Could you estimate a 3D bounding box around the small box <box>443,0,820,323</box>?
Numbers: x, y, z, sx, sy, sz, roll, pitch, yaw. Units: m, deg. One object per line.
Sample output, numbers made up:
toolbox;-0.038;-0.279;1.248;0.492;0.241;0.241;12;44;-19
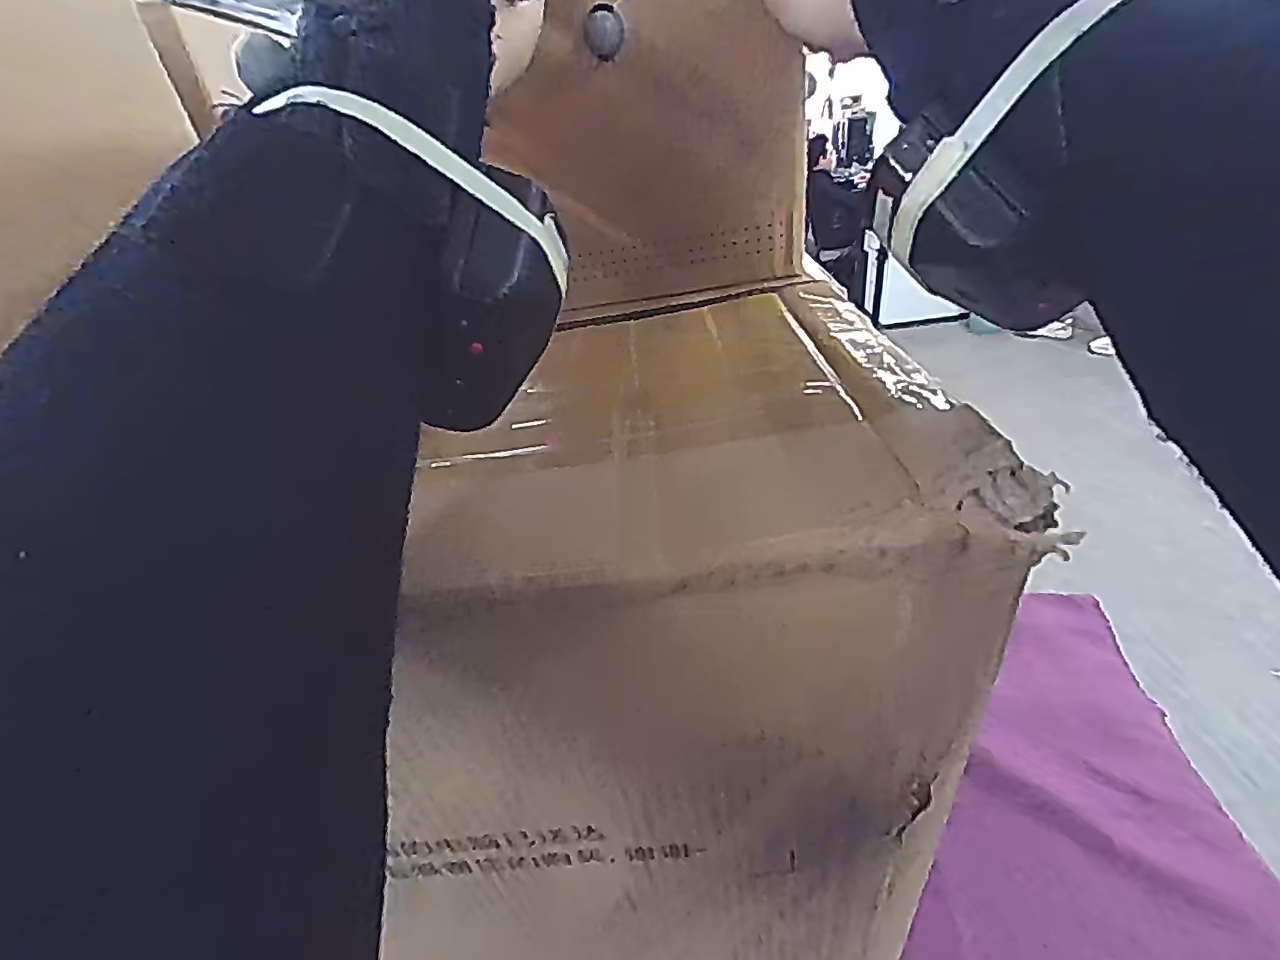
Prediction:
small box;0.010;-0.216;0.347;0.179;0.176;0.168;-6;34;8
